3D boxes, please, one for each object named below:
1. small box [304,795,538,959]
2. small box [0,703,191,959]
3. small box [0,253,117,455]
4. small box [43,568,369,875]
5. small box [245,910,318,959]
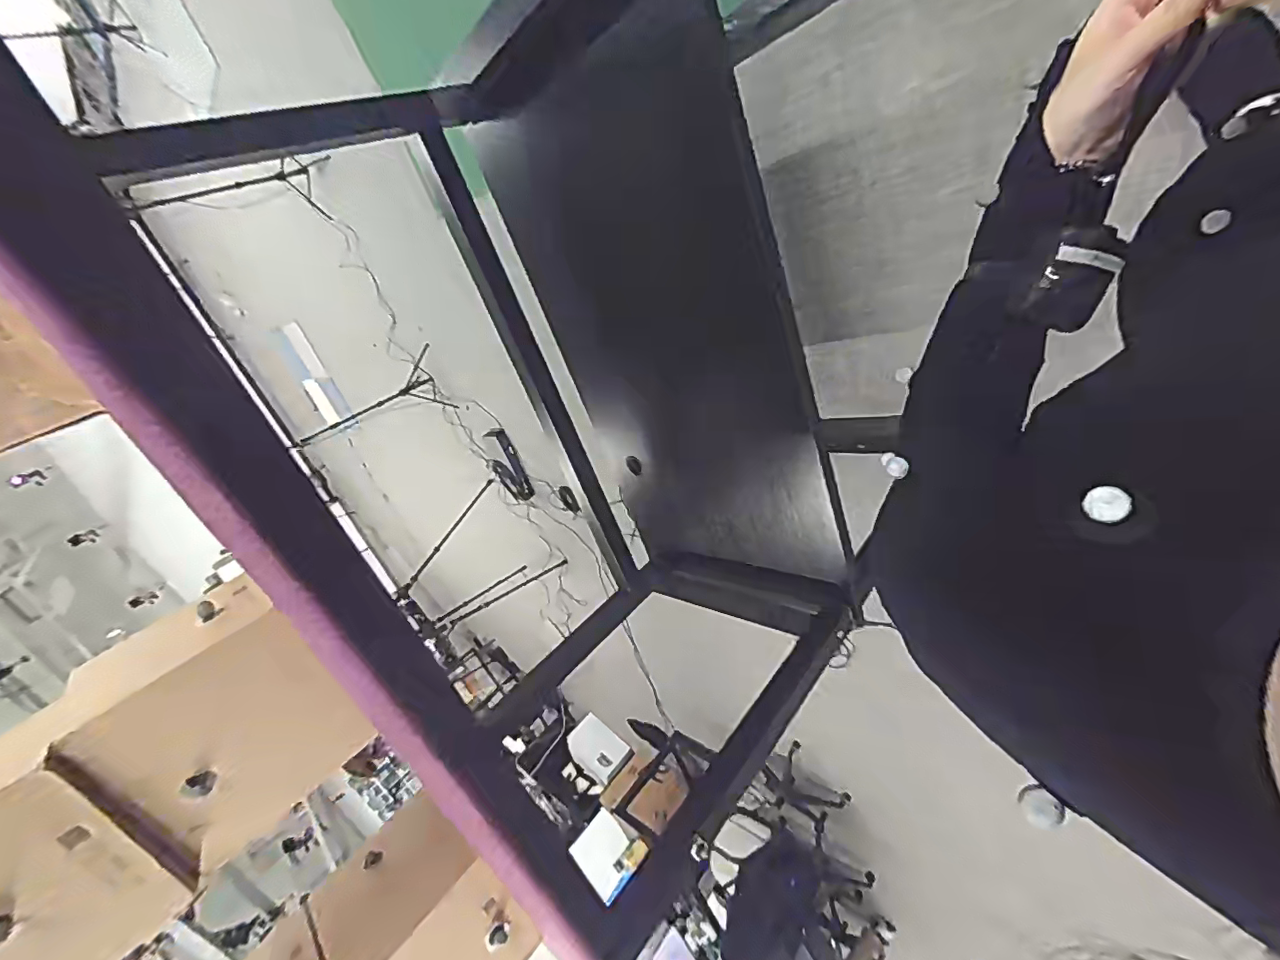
[{"bbox_3d":[-0.252,0.515,0.636,0.179,0.176,0.168,0,122,49],"label":"small box"},{"bbox_3d":[-0.500,0.307,0.434,0.179,0.176,0.168,0,121,51],"label":"small box"},{"bbox_3d":[-0.523,-0.090,0.382,0.179,0.176,0.168,10,130,48],"label":"small box"},{"bbox_3d":[-0.400,0.216,0.528,0.168,0.176,0.179,7,126,48],"label":"small box"},{"bbox_3d":[-0.359,0.606,0.549,0.168,0.176,0.179,-1,121,50],"label":"small box"}]
